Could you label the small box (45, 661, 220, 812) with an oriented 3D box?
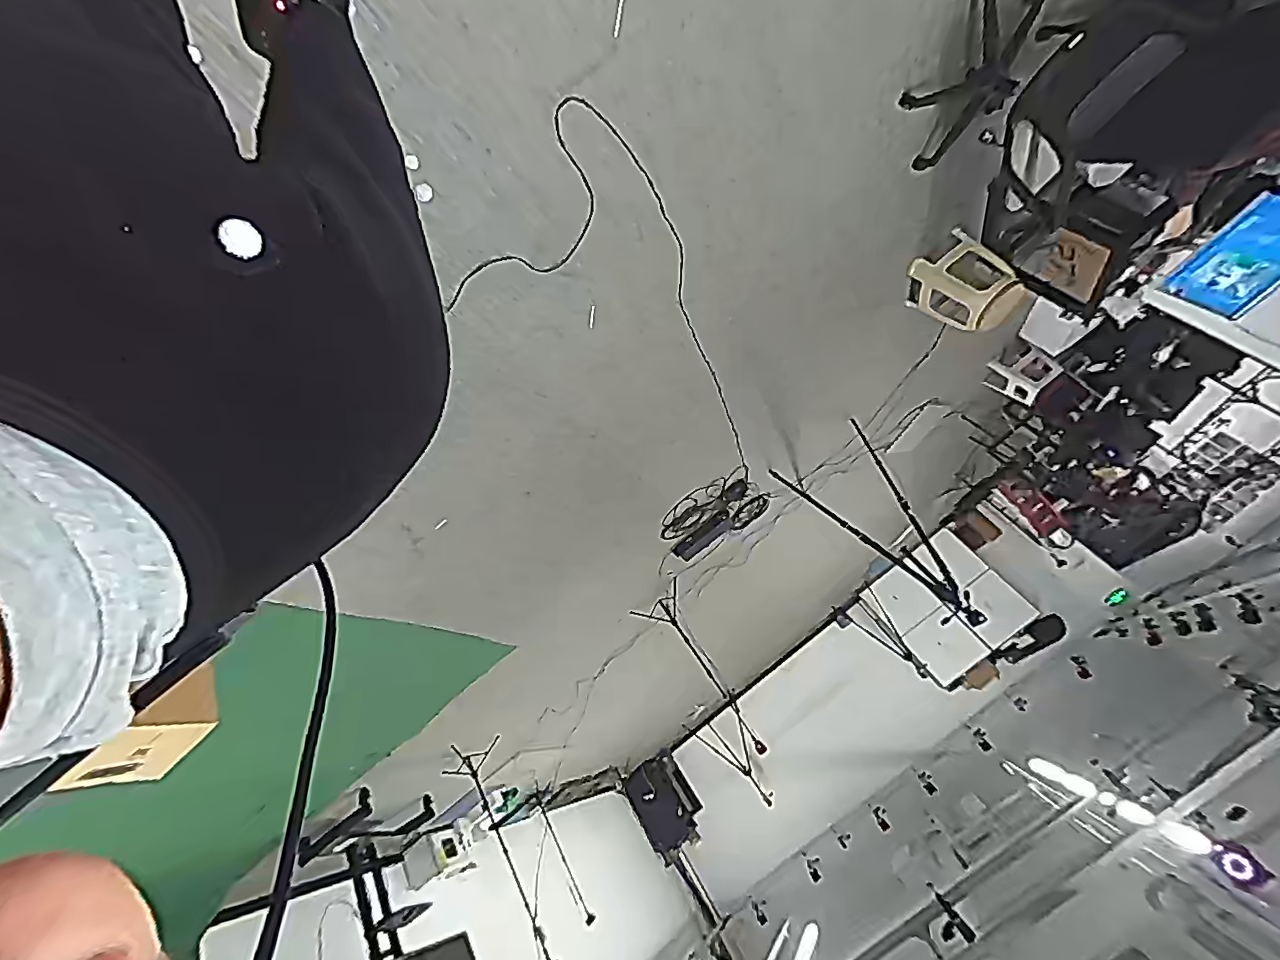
[{"bbox_3d":[-0.905,0.453,0.972,0.179,0.176,0.168,-43,148,5],"label":"small box"}]
